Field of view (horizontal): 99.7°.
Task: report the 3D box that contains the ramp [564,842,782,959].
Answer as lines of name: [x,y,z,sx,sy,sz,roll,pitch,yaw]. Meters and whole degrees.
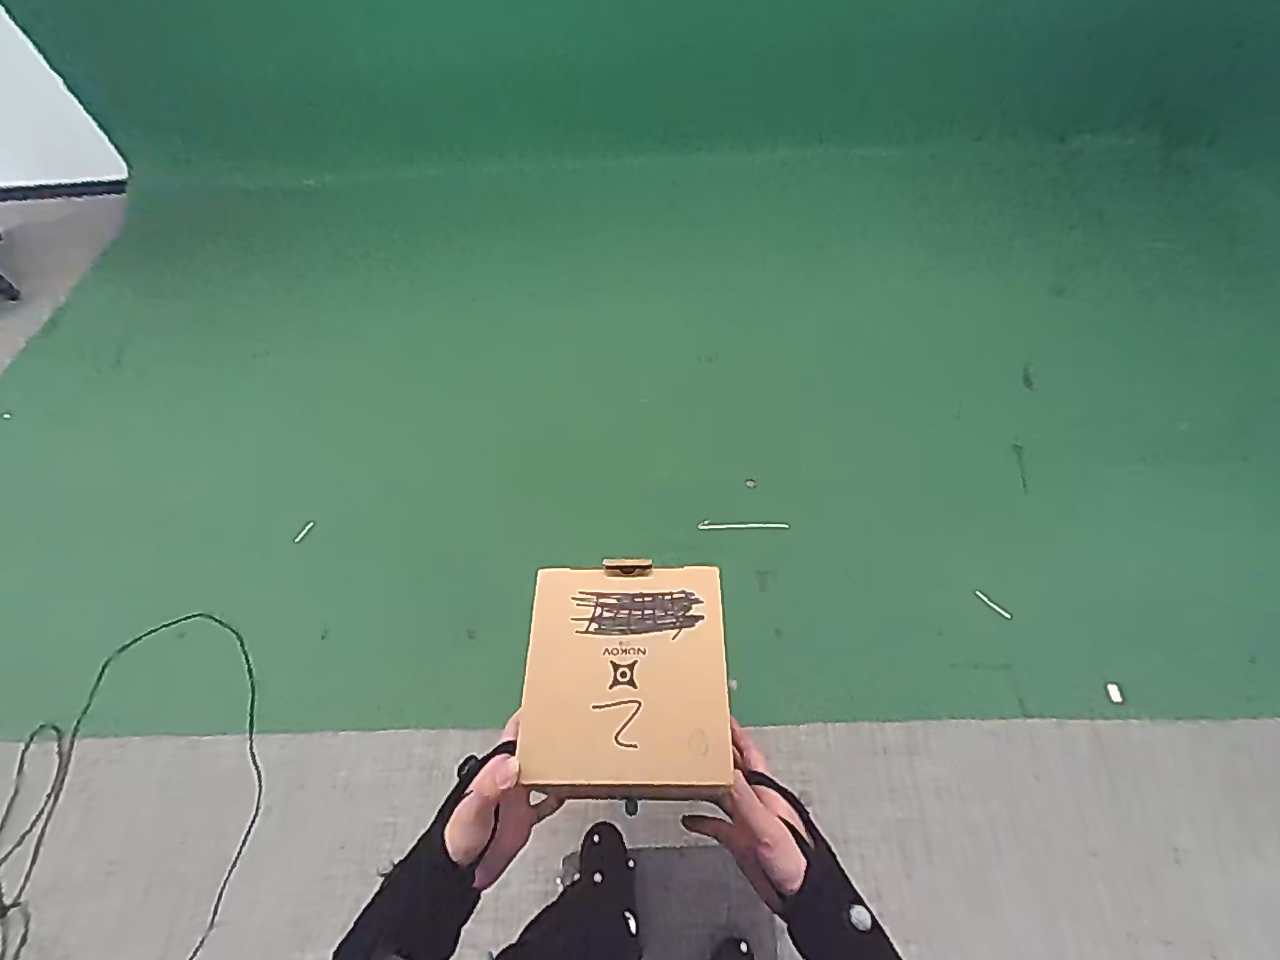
ramp: [0.084,1.334,1.100,0.509,0.206,0.991,-4,59,0]
